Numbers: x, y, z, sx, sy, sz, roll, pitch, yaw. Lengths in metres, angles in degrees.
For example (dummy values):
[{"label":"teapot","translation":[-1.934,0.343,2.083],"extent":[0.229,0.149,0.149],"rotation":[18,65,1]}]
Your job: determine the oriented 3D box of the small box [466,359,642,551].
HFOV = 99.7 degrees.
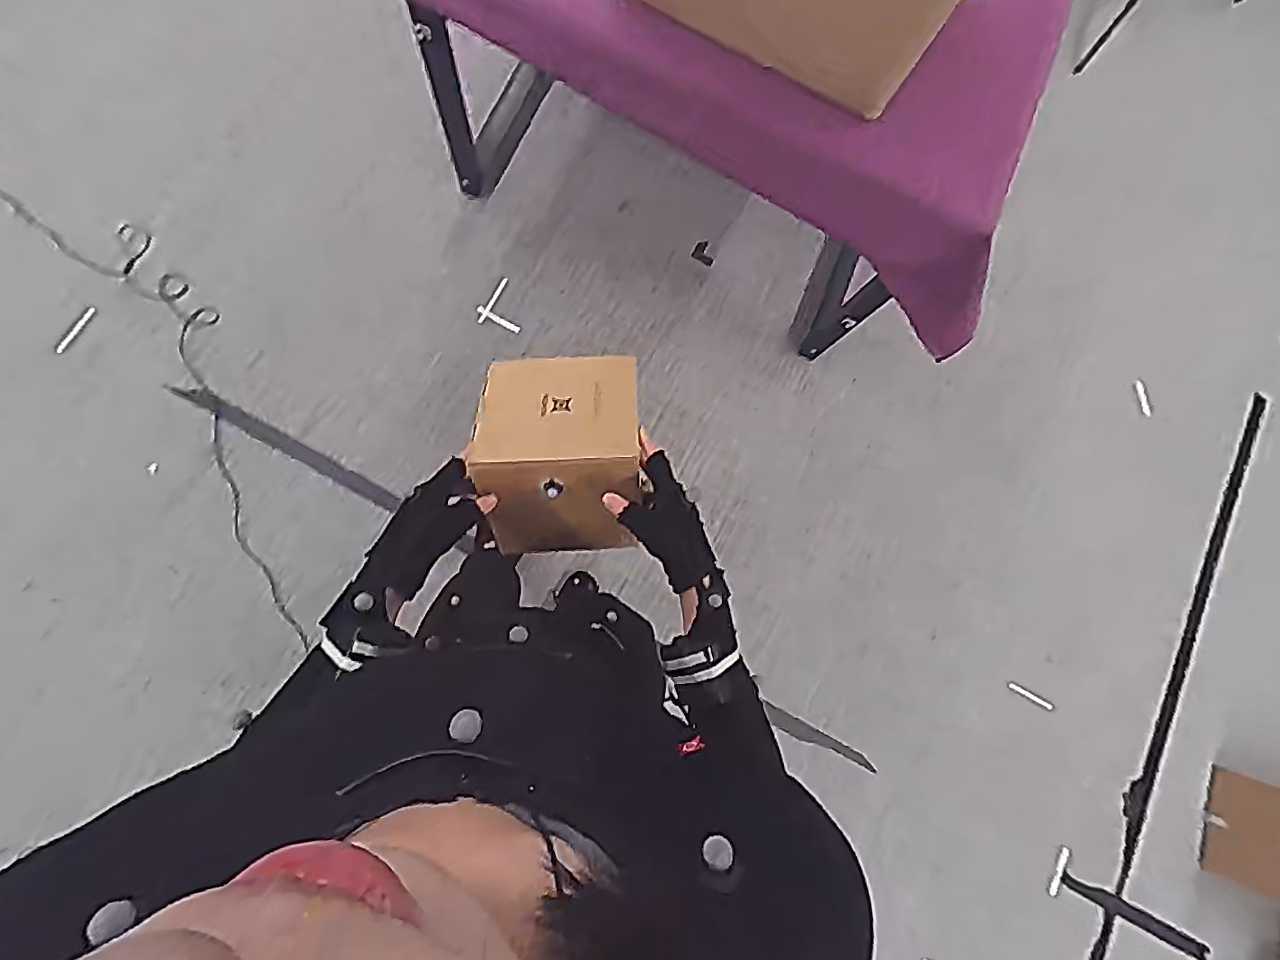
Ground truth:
[{"label":"small box","translation":[-0.089,-0.026,0.654],"extent":[0.179,0.176,0.168],"rotation":[-2,49,-1]}]
